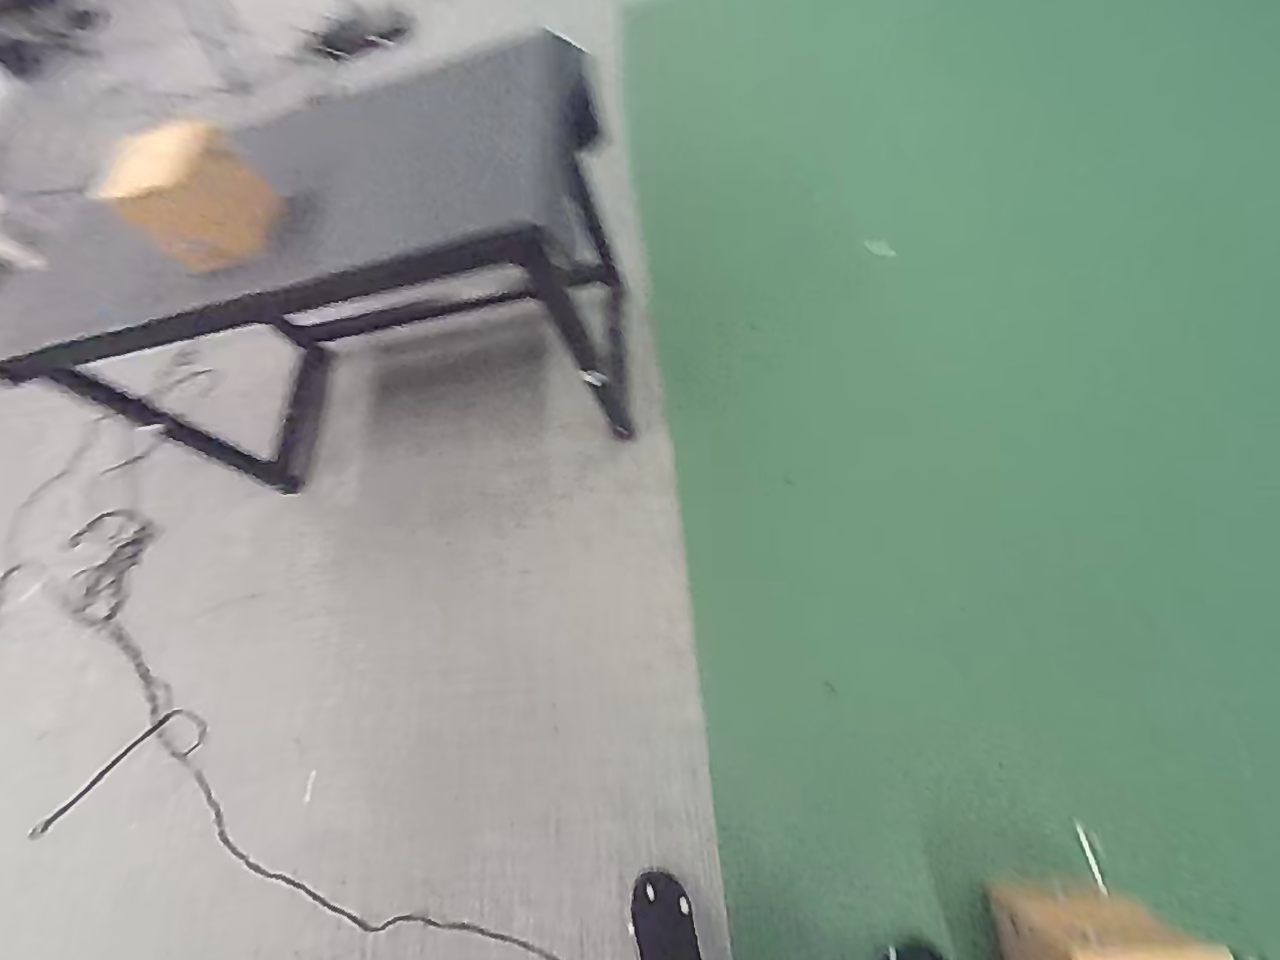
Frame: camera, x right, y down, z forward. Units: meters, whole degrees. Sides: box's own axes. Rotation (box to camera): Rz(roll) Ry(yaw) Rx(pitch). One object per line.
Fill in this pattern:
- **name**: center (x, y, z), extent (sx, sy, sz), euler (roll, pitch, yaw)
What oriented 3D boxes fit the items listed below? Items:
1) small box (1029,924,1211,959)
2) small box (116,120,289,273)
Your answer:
- **small box**: center (0.652, 0.697, 0.694), extent (0.179, 0.176, 0.168), euler (-9, 63, 10)
- **small box**: center (-0.806, -0.526, 1.019), extent (0.168, 0.176, 0.179), euler (-9, 63, 11)
